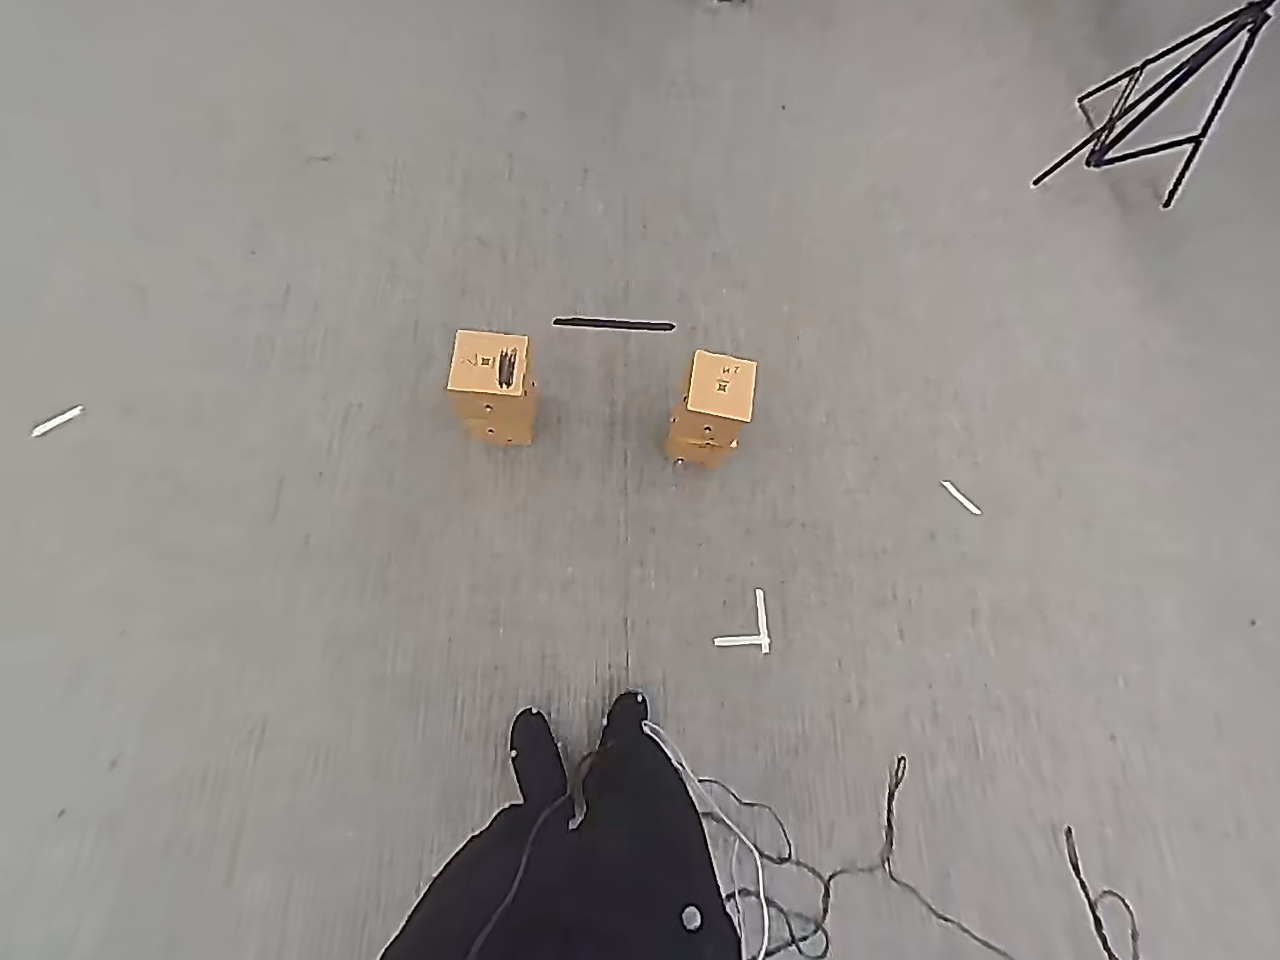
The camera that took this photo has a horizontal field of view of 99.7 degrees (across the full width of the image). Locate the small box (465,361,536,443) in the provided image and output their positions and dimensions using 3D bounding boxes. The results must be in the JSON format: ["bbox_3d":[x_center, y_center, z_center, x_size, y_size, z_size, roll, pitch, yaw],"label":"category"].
[{"bbox_3d":[-0.387,-0.215,1.531,0.168,0.176,0.179,4,72,-6],"label":"small box"}]

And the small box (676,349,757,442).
[{"bbox_3d":[0.197,-0.217,1.436,0.168,0.176,0.179,12,72,-5],"label":"small box"}]

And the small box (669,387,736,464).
[{"bbox_3d":[0.181,-0.157,1.589,0.168,0.176,0.179,6,72,-7],"label":"small box"}]
